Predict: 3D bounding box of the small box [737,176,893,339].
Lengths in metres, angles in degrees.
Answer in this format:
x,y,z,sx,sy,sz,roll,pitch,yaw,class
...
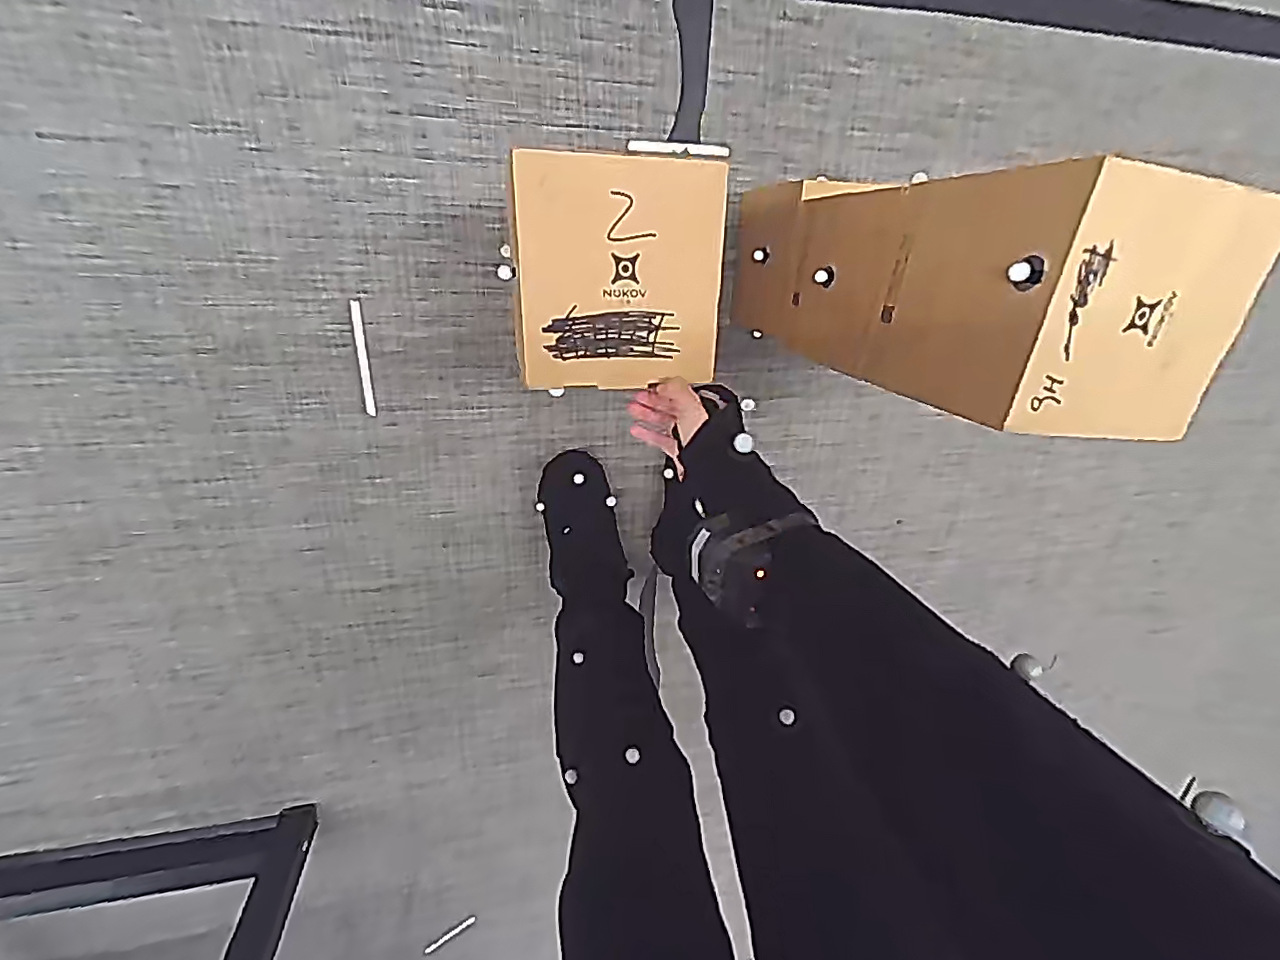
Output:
x,y,z,sx,sy,sz,roll,pitch,yaw,class
0.237,-0.286,0.707,0.168,0.176,0.179,-4,114,-13,small box

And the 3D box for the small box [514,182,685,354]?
x,y,z,sx,sy,sz,roll,pitch,yaw,class
-0.059,-0.249,0.648,0.179,0.176,0.168,-3,114,-14,small box

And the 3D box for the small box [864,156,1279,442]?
x,y,z,sx,sy,sz,roll,pitch,yaw,class
0.317,-0.137,0.424,0.179,0.176,0.168,1,113,-16,small box

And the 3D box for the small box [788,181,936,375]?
x,y,z,sx,sy,sz,roll,pitch,yaw,class
0.279,-0.206,0.569,0.179,0.176,0.168,-2,114,-14,small box
